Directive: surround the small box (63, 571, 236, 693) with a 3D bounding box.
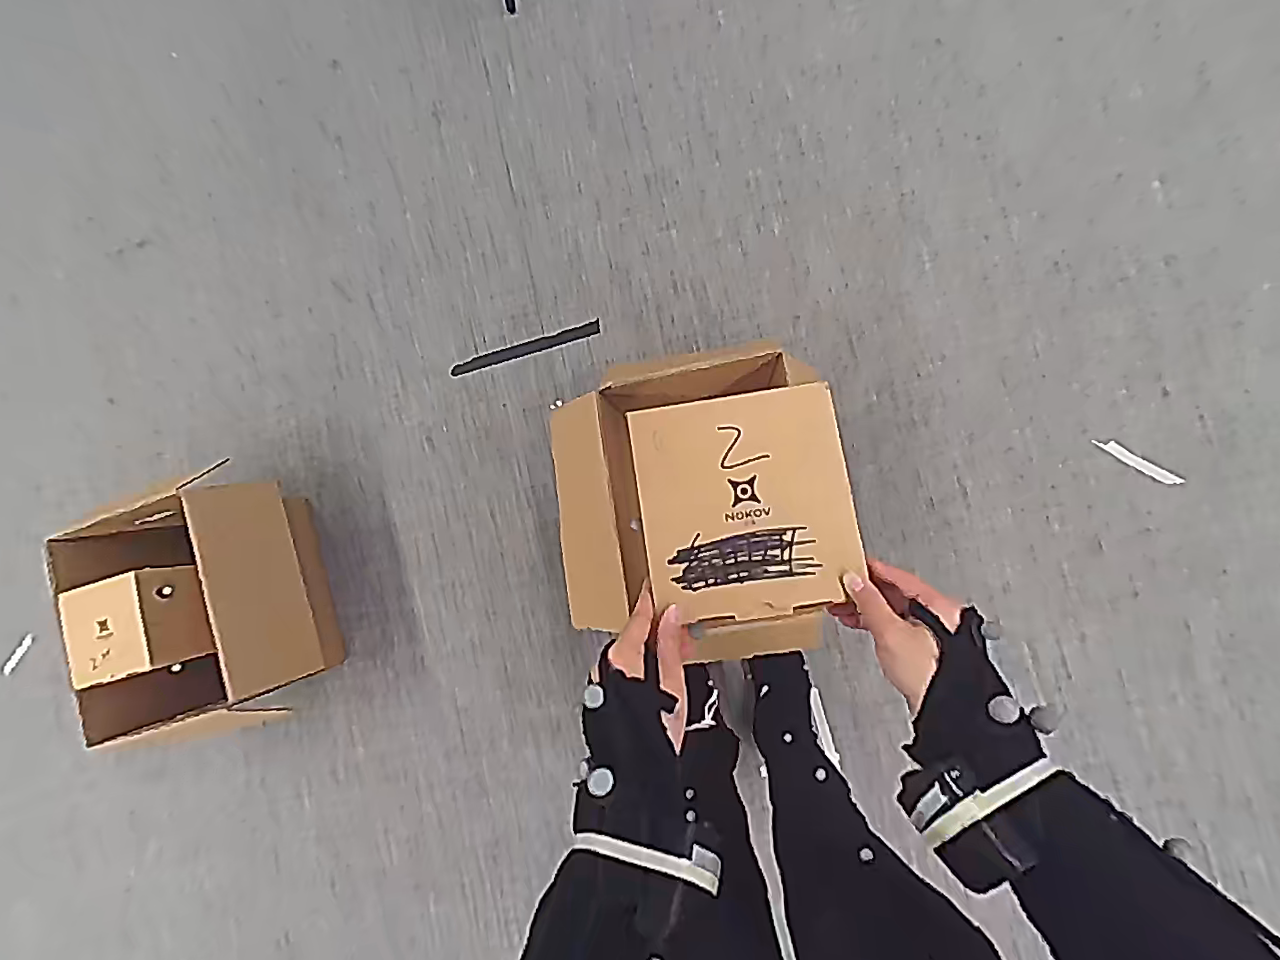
[{"bbox_3d":[-0.919,0.276,1.027,0.168,0.176,0.179,-17,84,8],"label":"small box"}]
